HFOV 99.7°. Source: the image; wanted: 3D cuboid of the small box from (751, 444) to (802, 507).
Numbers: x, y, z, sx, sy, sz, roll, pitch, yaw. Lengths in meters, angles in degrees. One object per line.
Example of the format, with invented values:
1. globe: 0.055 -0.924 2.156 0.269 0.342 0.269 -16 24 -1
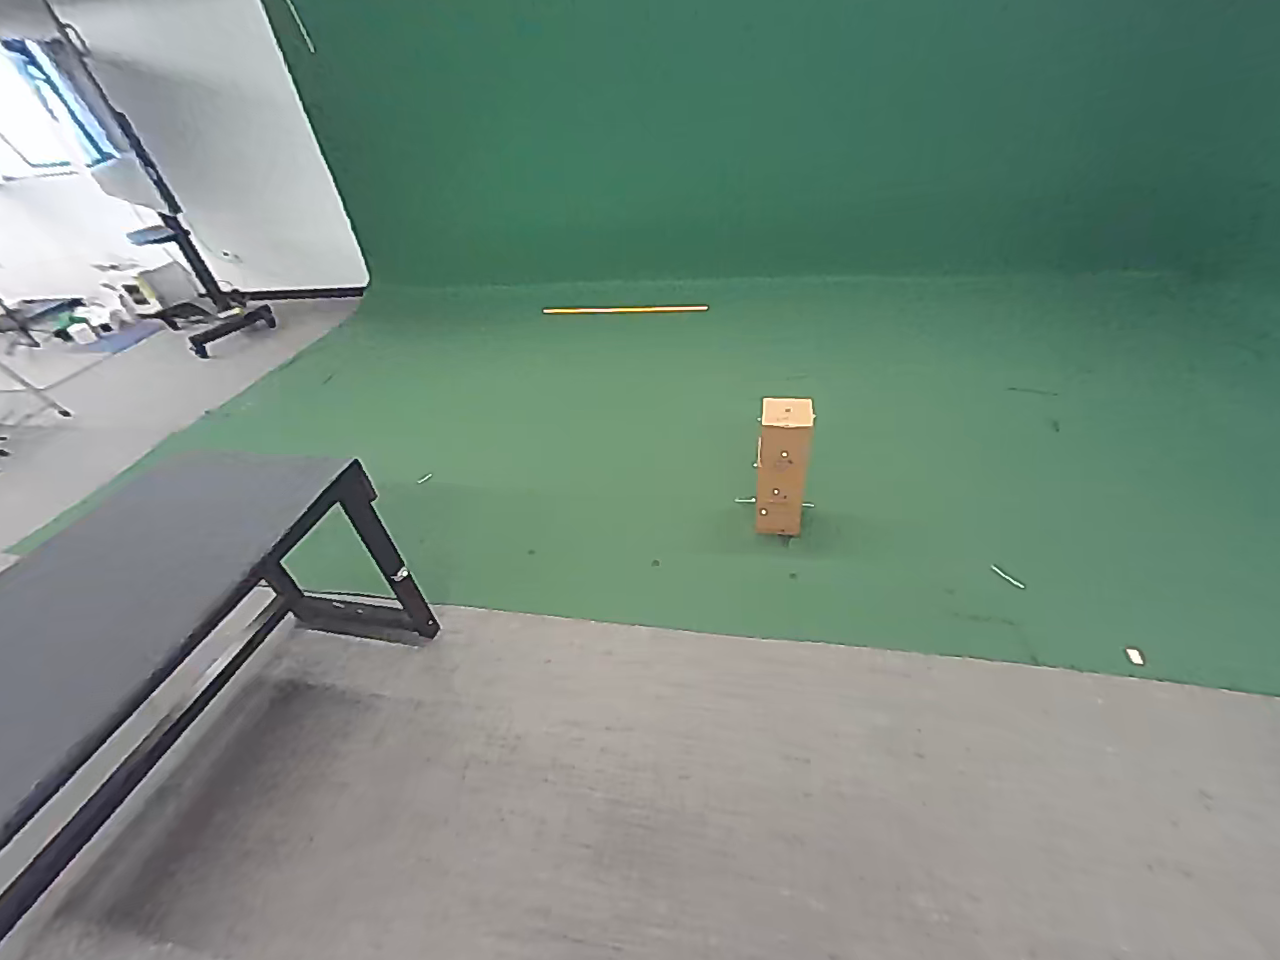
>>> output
1. small box: 0.498 -0.024 1.986 0.168 0.176 0.179 4 39 11

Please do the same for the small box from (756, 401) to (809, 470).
1. small box: 0.494 -0.155 1.885 0.168 0.176 0.179 4 40 12
